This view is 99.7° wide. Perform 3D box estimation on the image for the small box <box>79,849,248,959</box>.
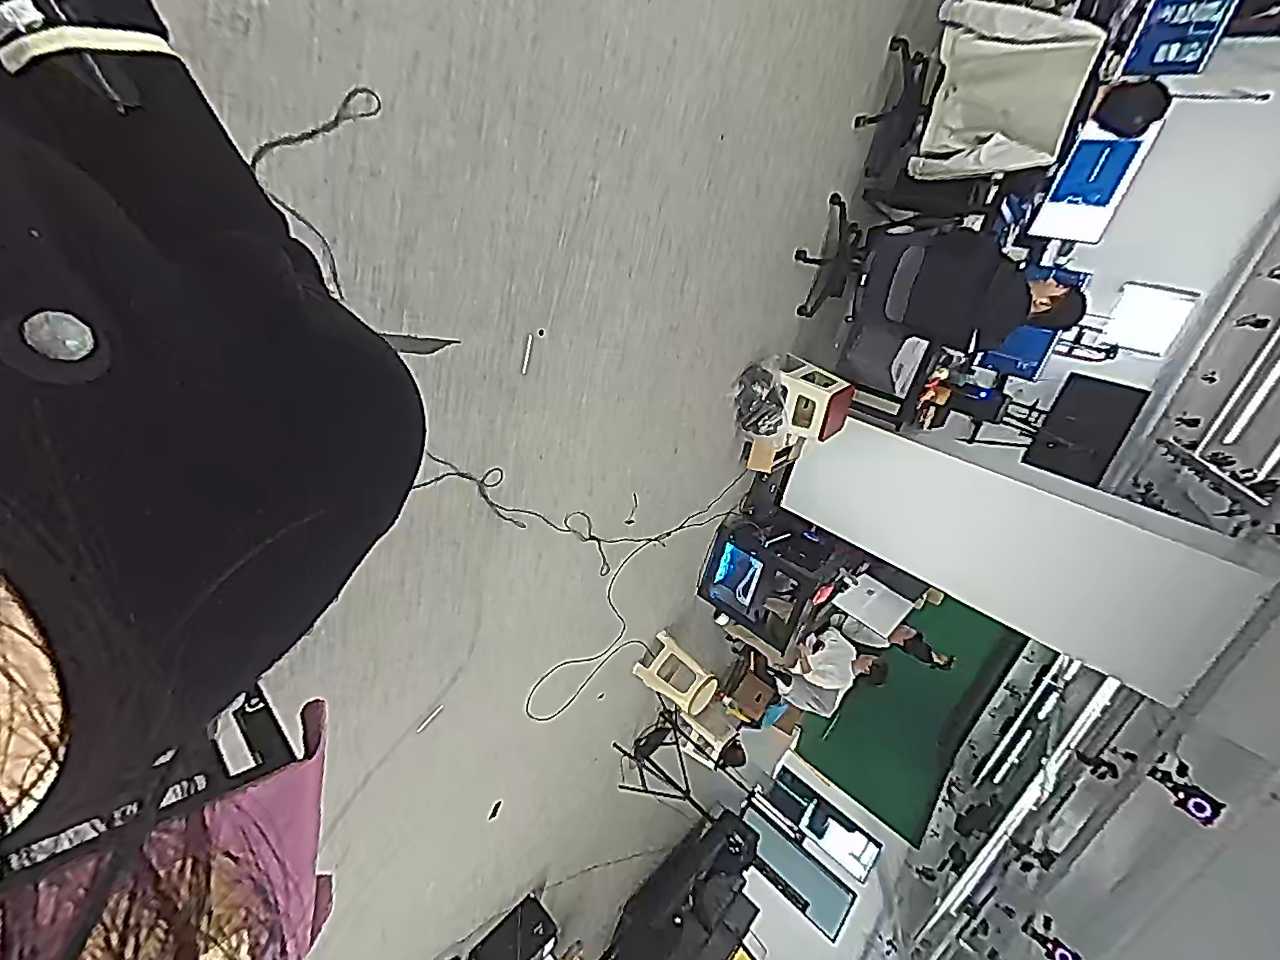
[{"bbox_3d":[-0.734,0.733,0.840,0.168,0.176,0.179,-14,126,-49],"label":"small box"}]
